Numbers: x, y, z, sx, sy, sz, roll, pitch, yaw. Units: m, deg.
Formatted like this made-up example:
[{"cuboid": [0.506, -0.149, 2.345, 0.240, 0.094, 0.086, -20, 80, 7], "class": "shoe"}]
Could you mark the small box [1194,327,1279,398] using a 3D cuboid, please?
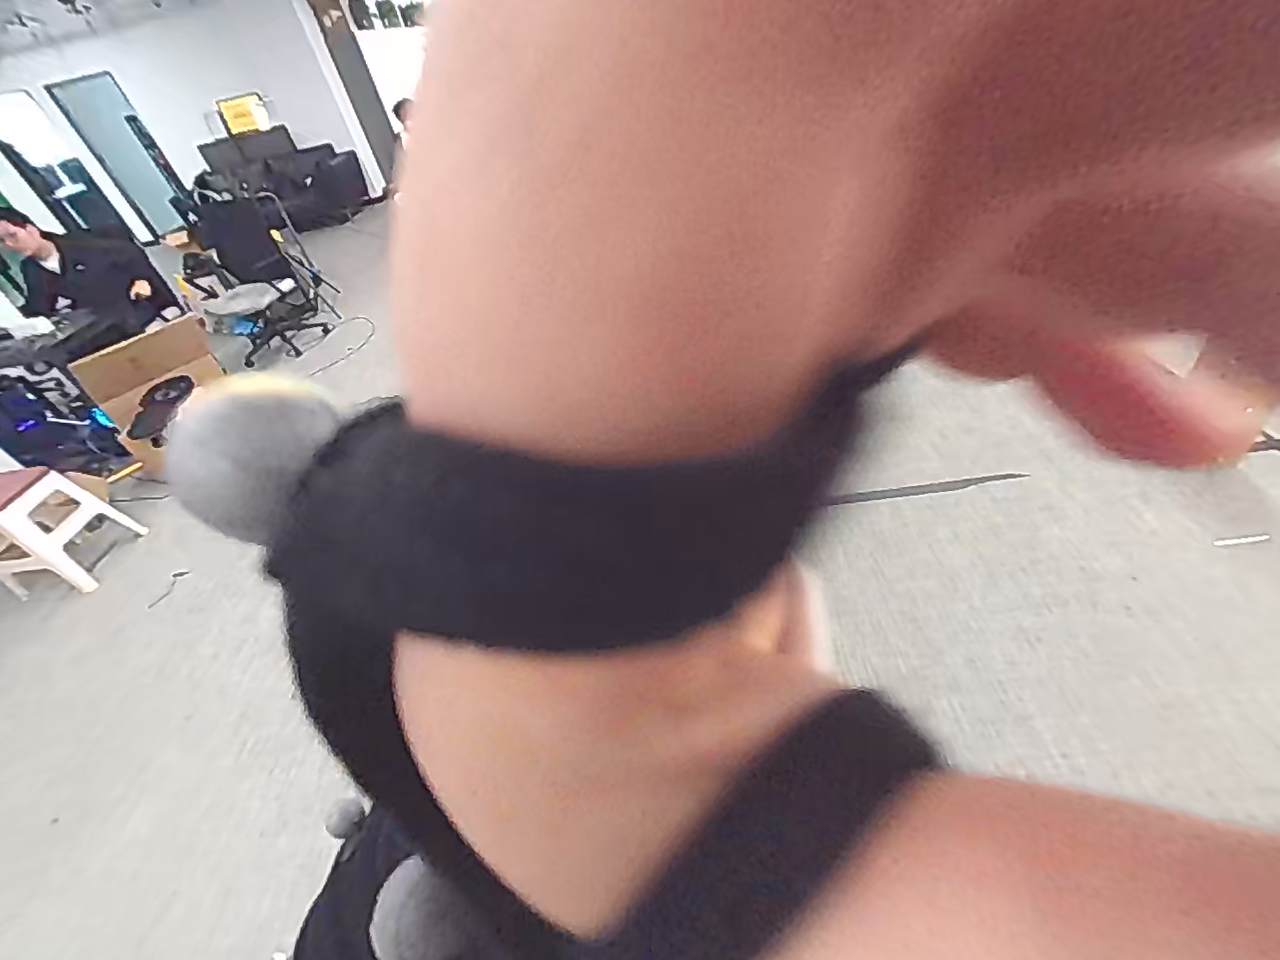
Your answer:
[{"cuboid": [1.879, -0.370, 1.664, 0.179, 0.176, 0.168, -8, 42, 5], "class": "small box"}]

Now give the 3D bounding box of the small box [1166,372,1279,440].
[{"cuboid": [1.905, -0.251, 1.772, 0.179, 0.176, 0.168, -9, 41, 6], "class": "small box"}]

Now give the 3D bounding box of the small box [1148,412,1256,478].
[{"cuboid": [1.938, -0.132, 1.880, 0.168, 0.176, 0.179, -8, 41, 6], "class": "small box"}]
